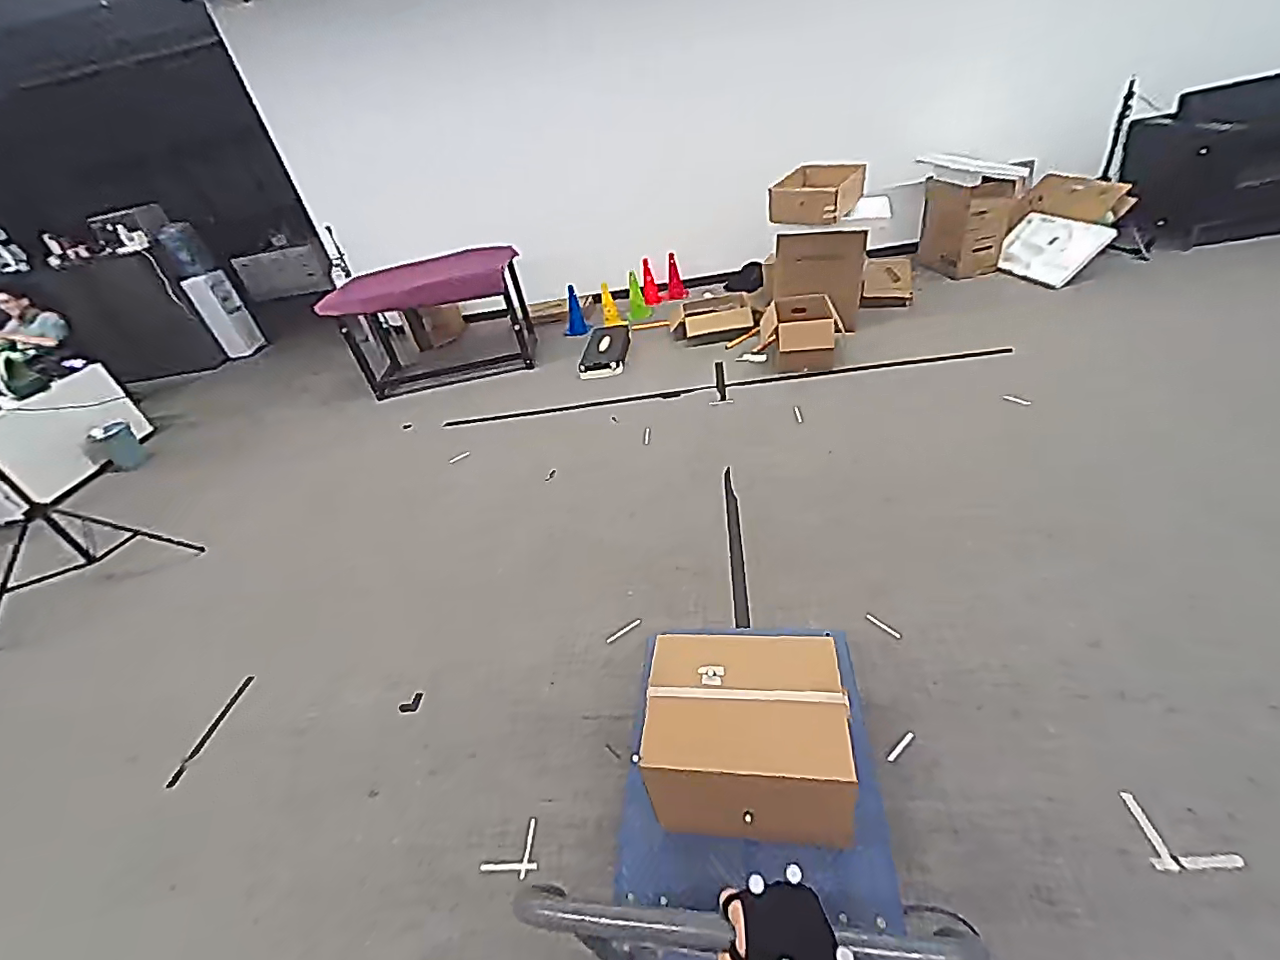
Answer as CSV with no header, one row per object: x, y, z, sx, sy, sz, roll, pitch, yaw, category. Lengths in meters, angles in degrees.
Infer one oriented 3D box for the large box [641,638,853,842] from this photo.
0.242,0.583,1.225,0.408,0.320,0.320,-5,35,13,large box
